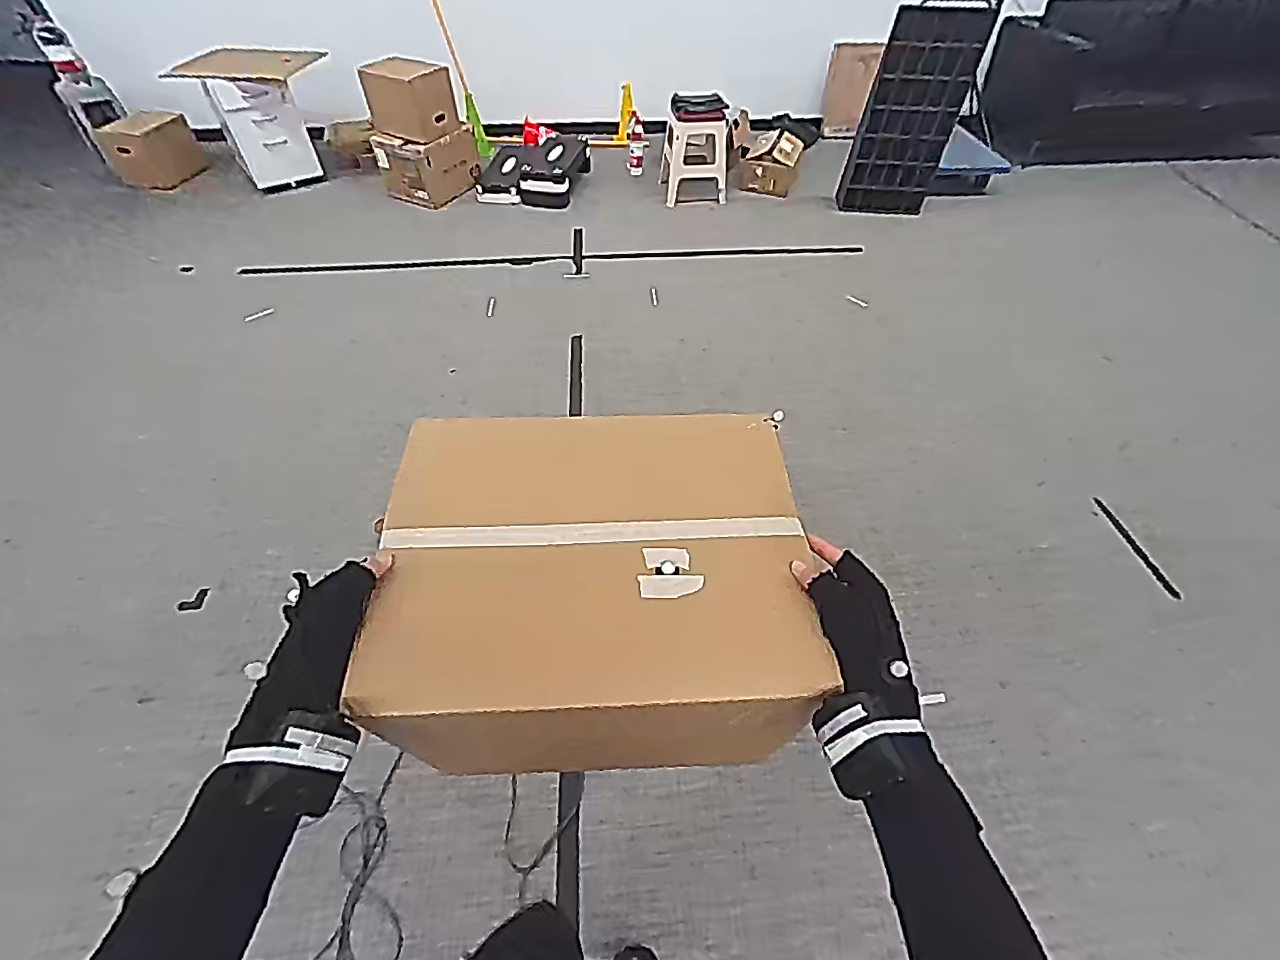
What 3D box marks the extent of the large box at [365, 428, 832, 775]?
[{"bbox_3d":[-0.045,0.154,0.659,0.408,0.320,0.320,-1,54,-4],"label":"large box"}]
